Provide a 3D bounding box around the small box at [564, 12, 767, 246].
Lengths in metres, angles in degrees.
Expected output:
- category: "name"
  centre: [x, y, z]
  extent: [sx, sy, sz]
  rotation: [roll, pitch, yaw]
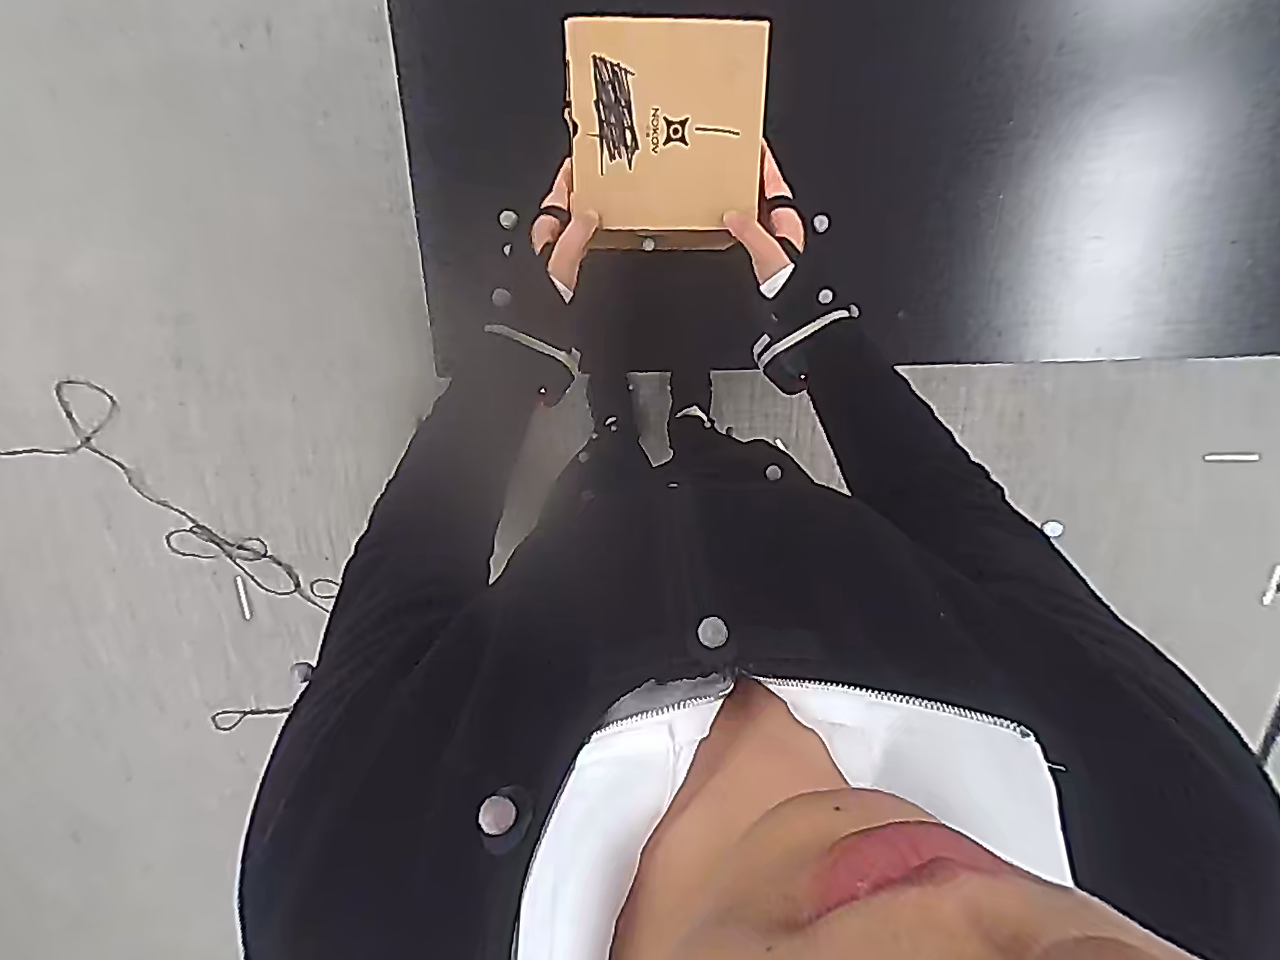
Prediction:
- category: "small box"
  centre: [0.019, -0.341, 0.560]
  extent: [0.179, 0.176, 0.168]
  rotation: [-1, 107, -3]
